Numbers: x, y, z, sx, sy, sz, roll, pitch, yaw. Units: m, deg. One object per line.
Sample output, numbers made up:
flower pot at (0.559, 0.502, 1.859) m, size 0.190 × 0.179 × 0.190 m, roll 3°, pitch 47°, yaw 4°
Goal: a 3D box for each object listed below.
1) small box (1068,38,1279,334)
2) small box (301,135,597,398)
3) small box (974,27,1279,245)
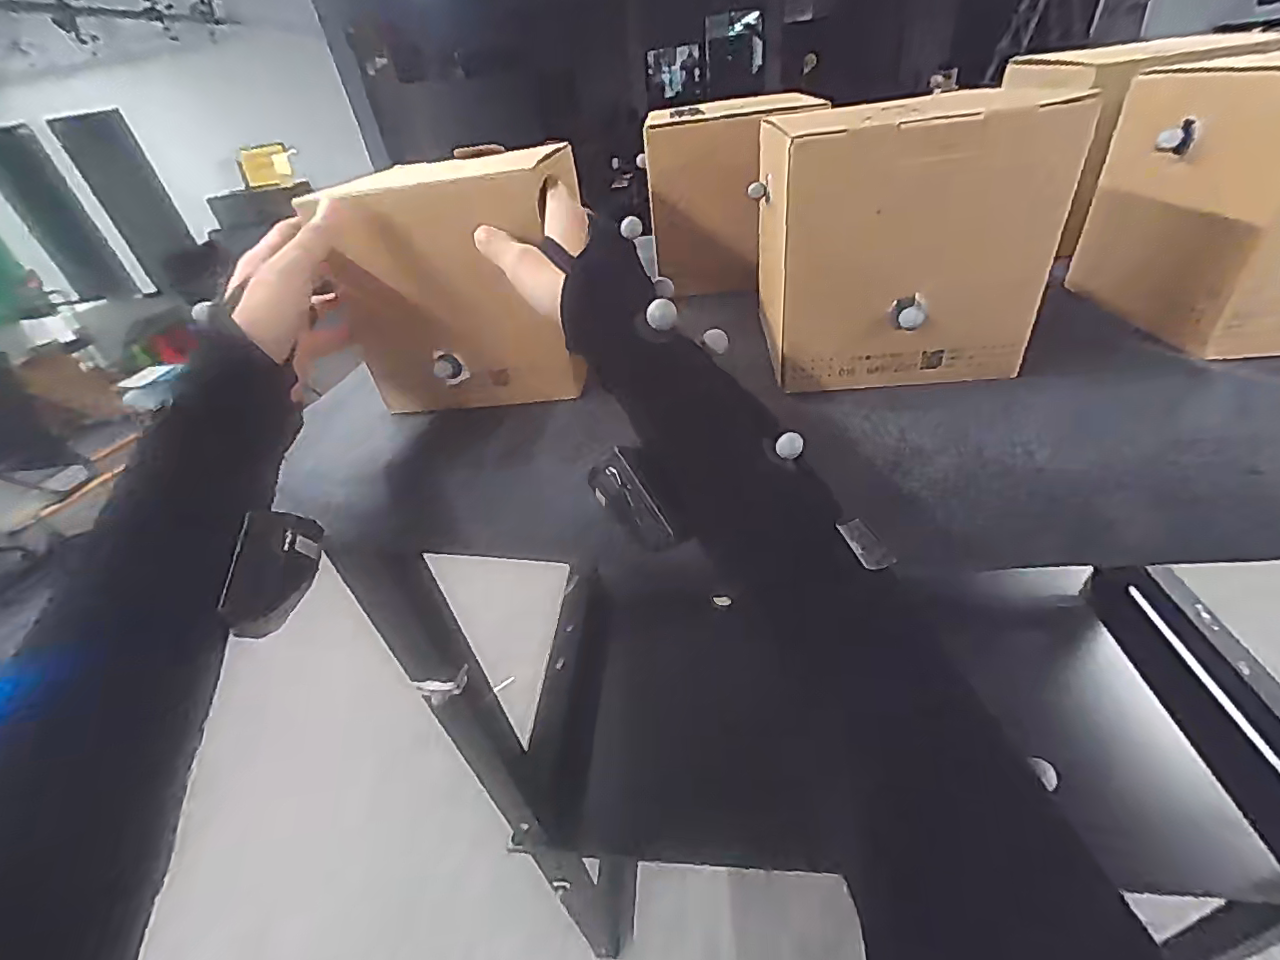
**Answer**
small box at (0.457, -0.208, 0.382) m, size 0.168 × 0.176 × 0.179 m, roll -3°, pitch 35°, yaw 8°
small box at (-0.135, -0.185, 0.466) m, size 0.168 × 0.176 × 0.179 m, roll -5°, pitch 35°, yaw 6°
small box at (0.494, -0.362, 0.582) m, size 0.168 × 0.176 × 0.179 m, roll -3°, pitch 36°, yaw 8°
